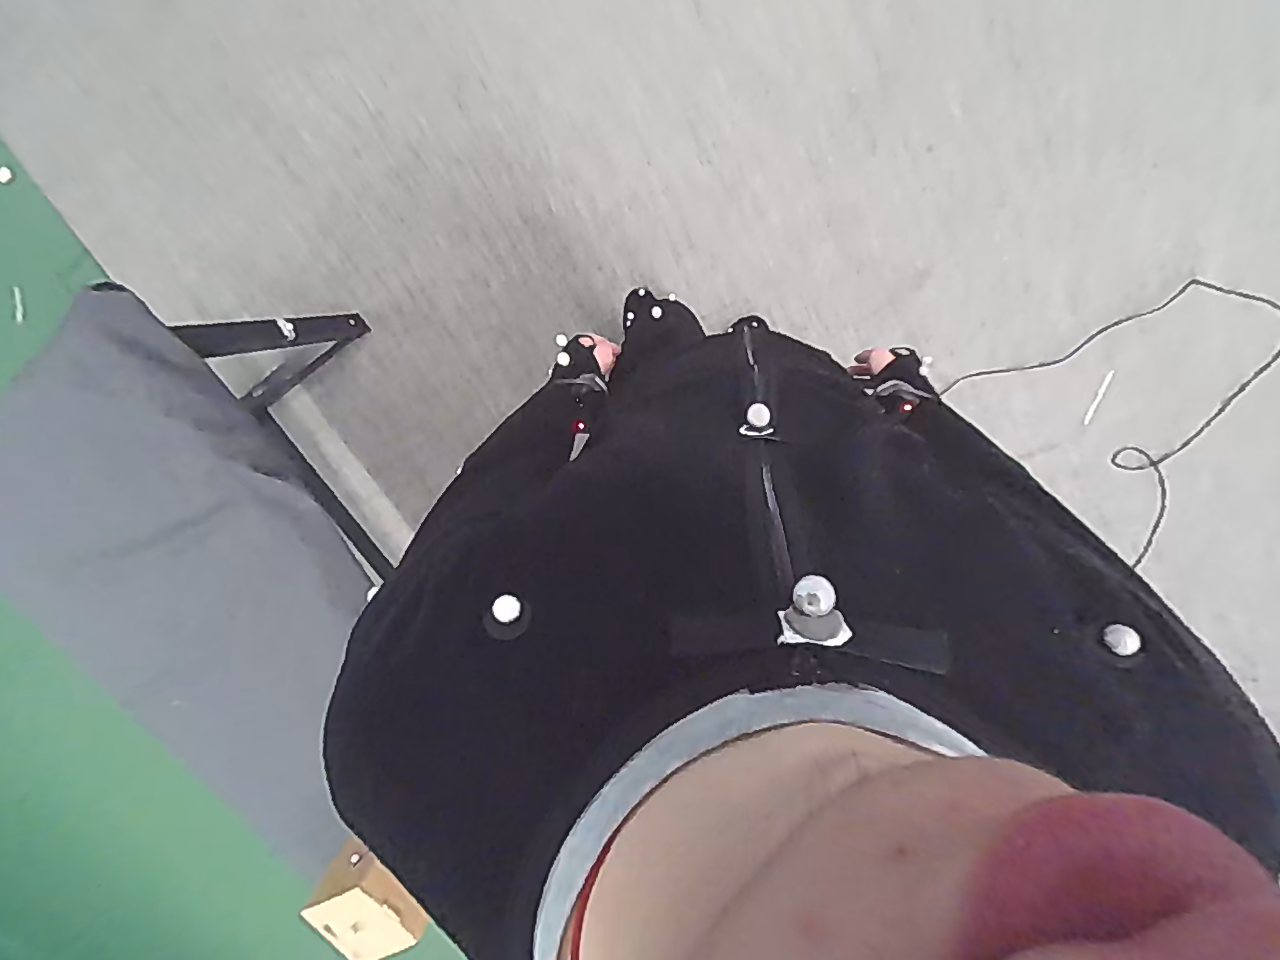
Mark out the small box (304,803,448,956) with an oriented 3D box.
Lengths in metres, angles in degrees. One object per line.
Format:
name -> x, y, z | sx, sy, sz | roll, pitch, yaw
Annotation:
small box -> -0.518, 0.801, 1.098 | 0.179, 0.176, 0.168 | -32, 102, 15
